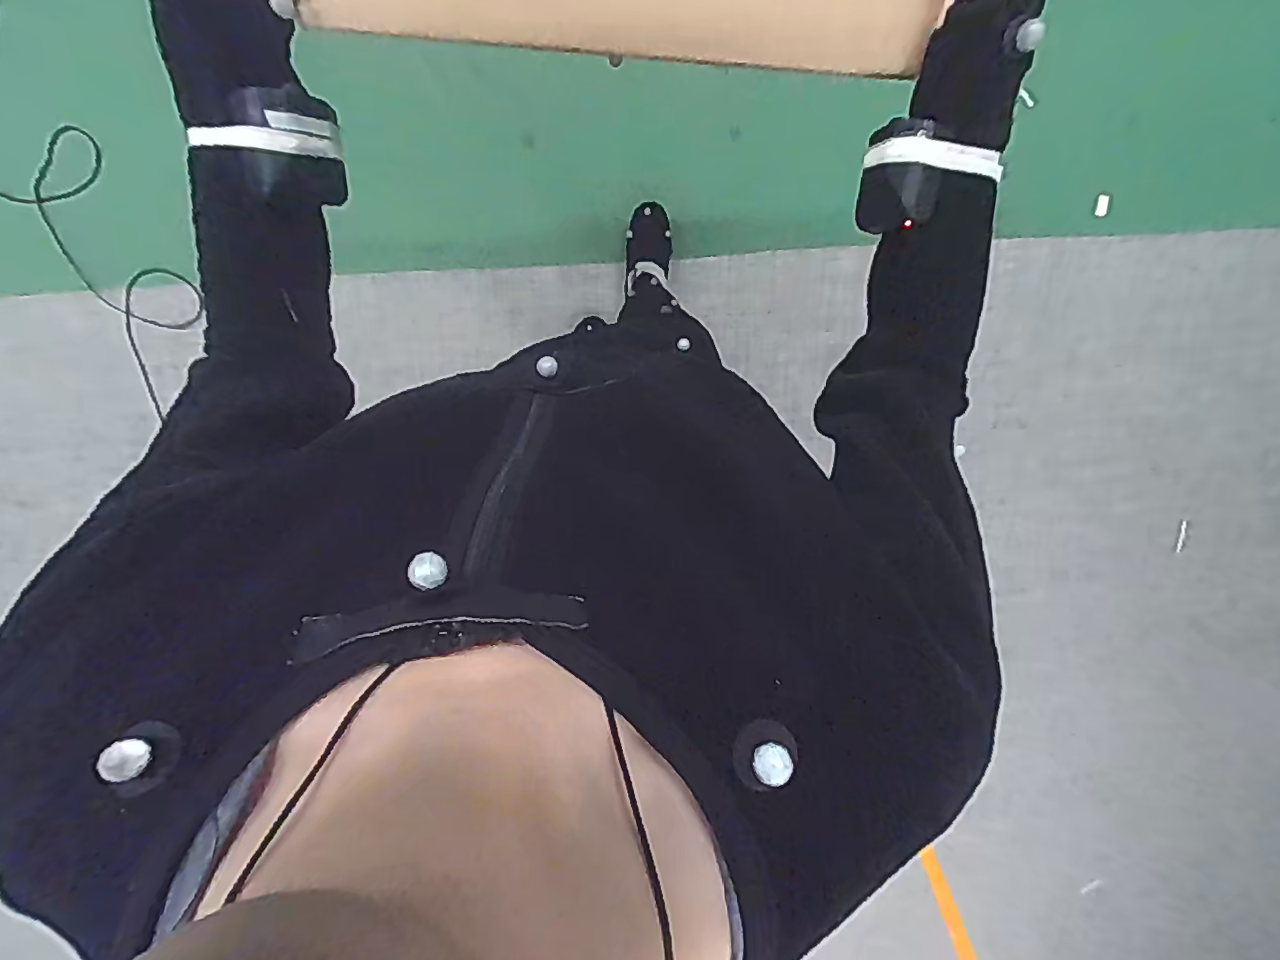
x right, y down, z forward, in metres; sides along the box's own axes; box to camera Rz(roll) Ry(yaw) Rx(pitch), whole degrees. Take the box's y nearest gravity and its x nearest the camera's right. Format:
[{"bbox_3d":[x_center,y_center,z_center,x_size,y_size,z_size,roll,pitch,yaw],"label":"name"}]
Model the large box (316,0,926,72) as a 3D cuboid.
[{"bbox_3d":[-0.008,-0.505,0.376,0.408,0.320,0.320,0,131,-5],"label":"large box"}]
